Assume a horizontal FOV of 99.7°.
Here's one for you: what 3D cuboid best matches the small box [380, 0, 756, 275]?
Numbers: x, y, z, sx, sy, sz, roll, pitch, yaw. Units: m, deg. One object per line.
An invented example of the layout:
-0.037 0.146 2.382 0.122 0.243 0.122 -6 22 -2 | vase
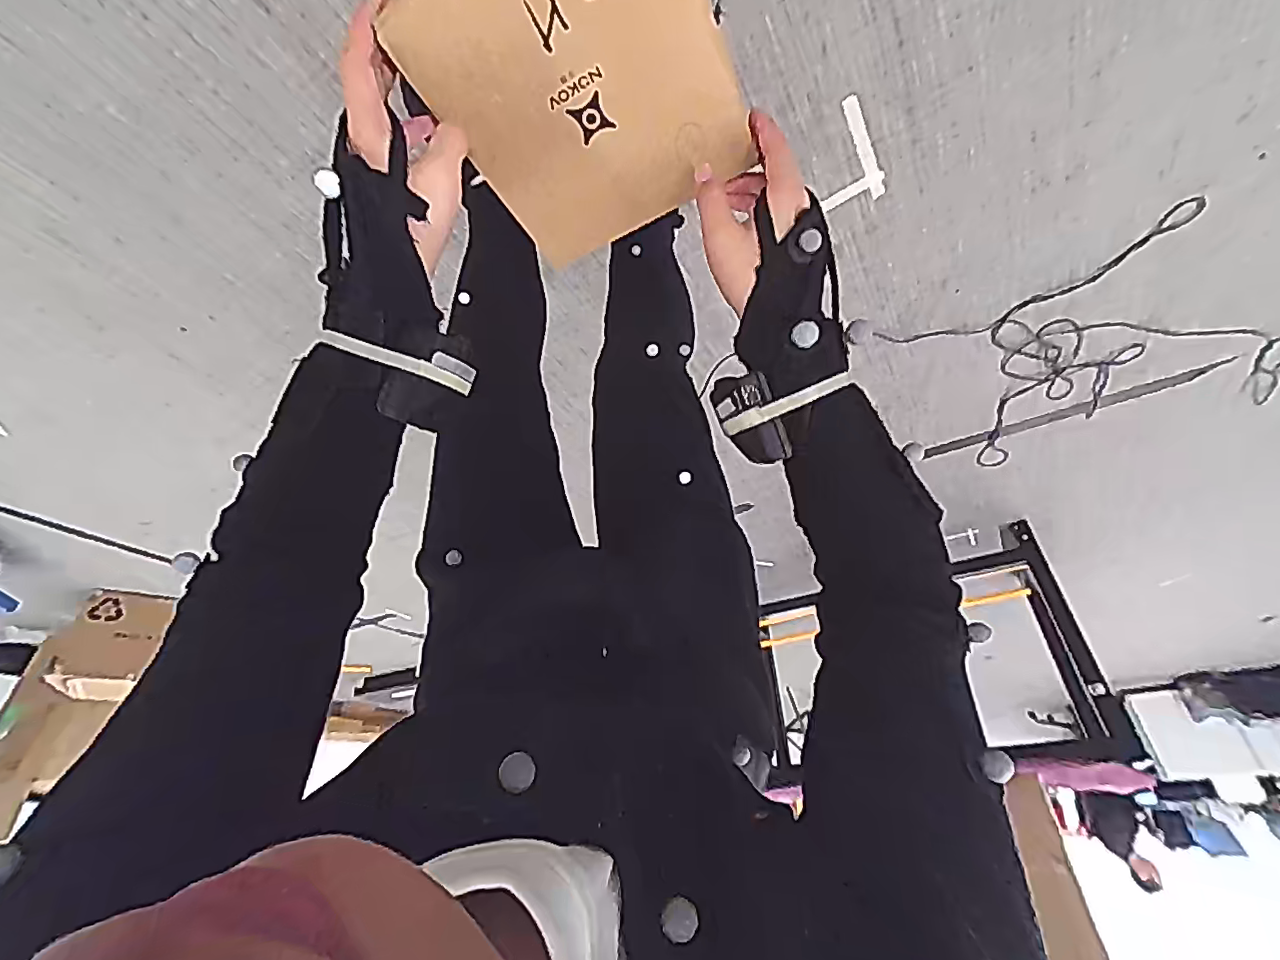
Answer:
-0.034 -0.287 0.368 0.168 0.176 0.179 -18 145 21 | small box
